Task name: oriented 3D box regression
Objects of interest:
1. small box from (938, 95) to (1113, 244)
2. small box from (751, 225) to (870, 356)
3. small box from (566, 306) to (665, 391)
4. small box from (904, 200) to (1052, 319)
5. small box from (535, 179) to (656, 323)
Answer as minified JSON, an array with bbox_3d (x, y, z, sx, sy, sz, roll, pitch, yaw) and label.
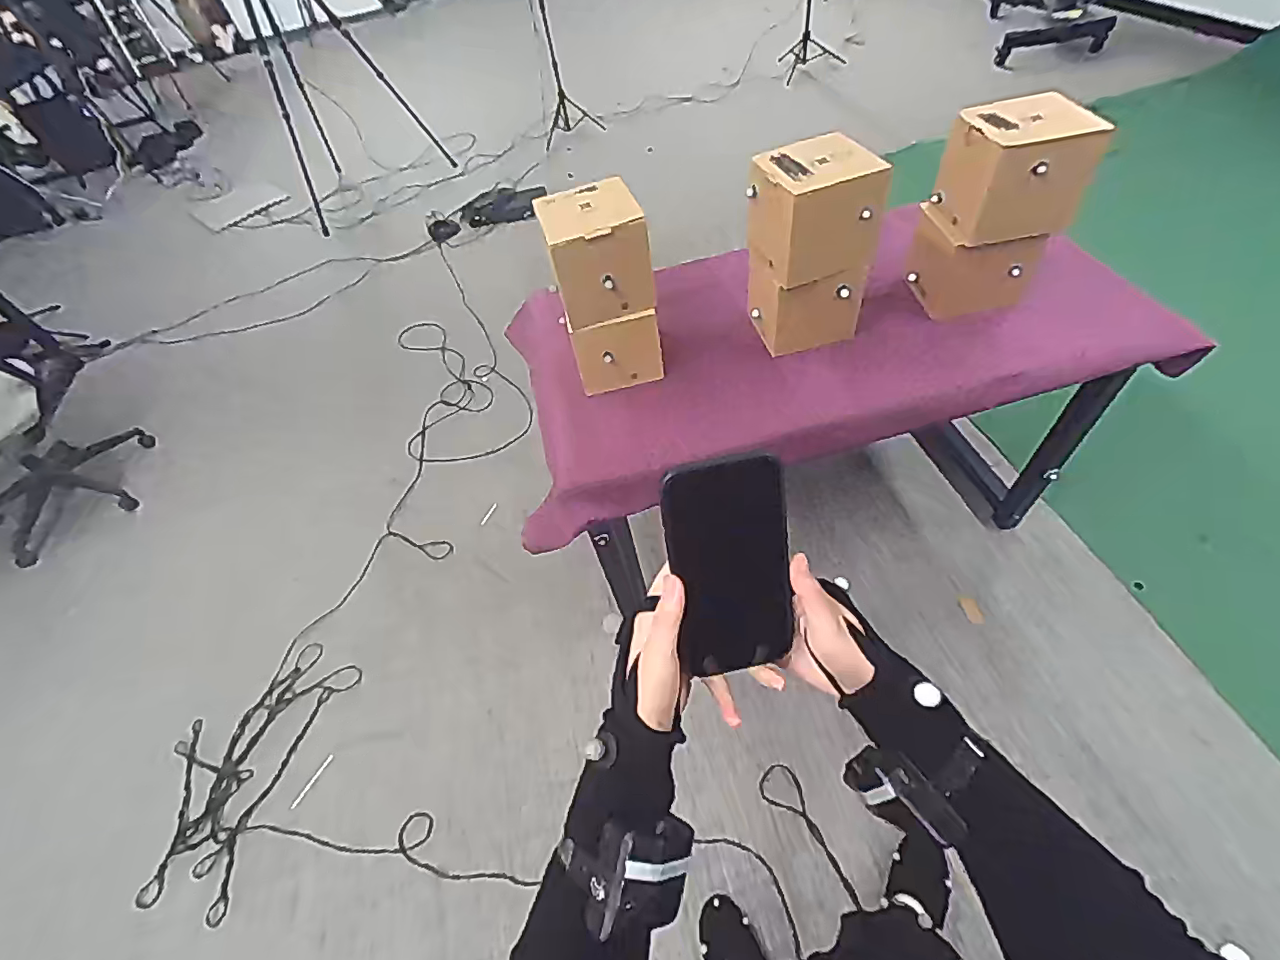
[{"bbox_3d":[0.653,-0.539,0.951,0.179,0.176,0.168,-9,52,3],"label":"small box"},{"bbox_3d":[0.332,-0.380,1.093,0.179,0.176,0.168,-14,52,0],"label":"small box"},{"bbox_3d":[-0.051,-0.301,1.104,0.168,0.176,0.179,-14,52,0],"label":"small box"},{"bbox_3d":[0.665,-0.450,1.089,0.179,0.176,0.168,-9,51,4],"label":"small box"},{"bbox_3d":[-0.076,-0.406,0.980,0.168,0.176,0.179,-17,53,-4],"label":"small box"}]
